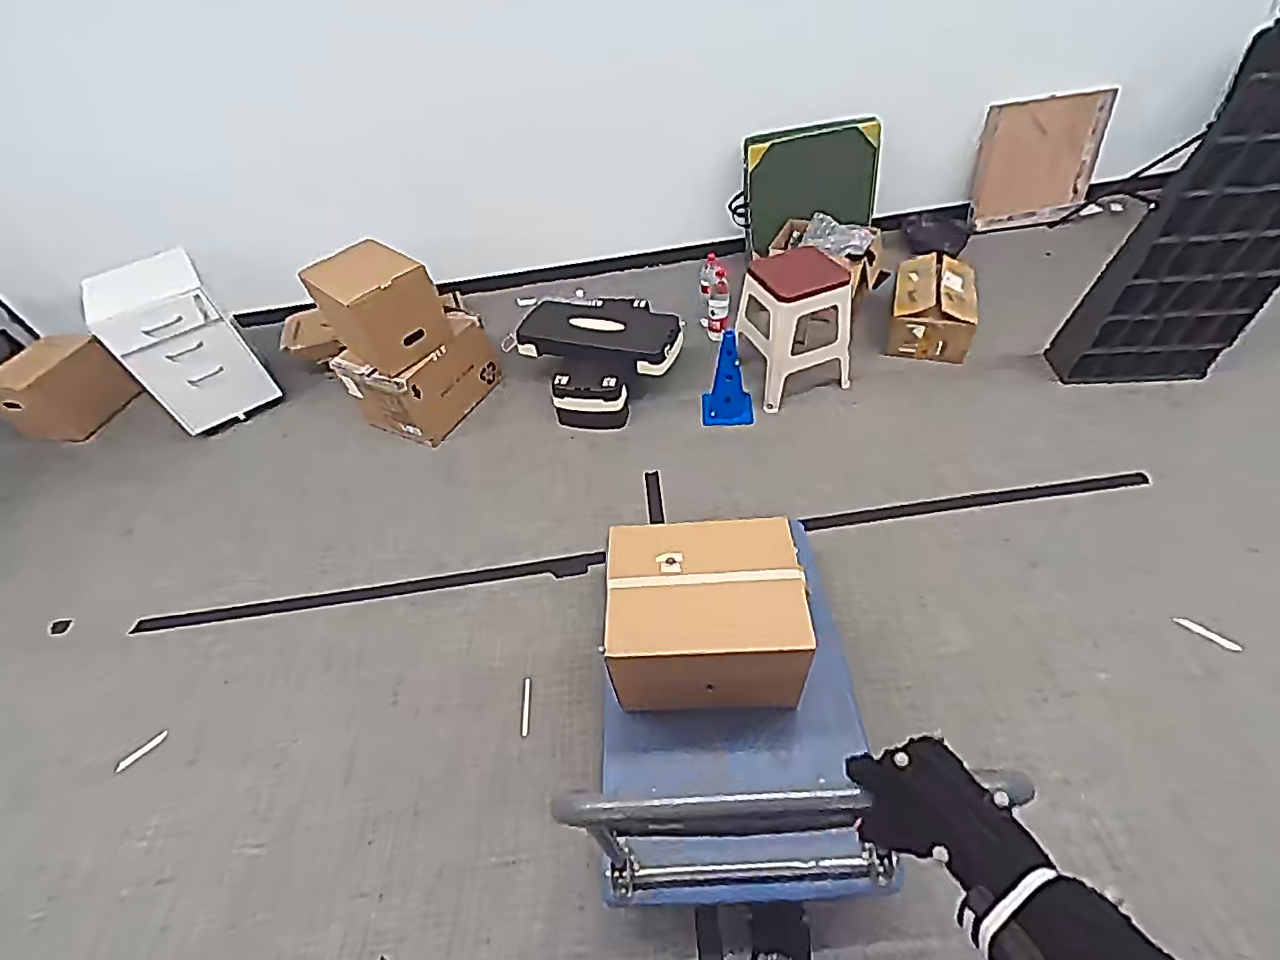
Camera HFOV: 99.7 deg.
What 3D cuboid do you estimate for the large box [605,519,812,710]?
[{"bbox_3d":[0.147,0.317,1.243,0.408,0.320,0.320,-5,48,5],"label":"large box"}]
